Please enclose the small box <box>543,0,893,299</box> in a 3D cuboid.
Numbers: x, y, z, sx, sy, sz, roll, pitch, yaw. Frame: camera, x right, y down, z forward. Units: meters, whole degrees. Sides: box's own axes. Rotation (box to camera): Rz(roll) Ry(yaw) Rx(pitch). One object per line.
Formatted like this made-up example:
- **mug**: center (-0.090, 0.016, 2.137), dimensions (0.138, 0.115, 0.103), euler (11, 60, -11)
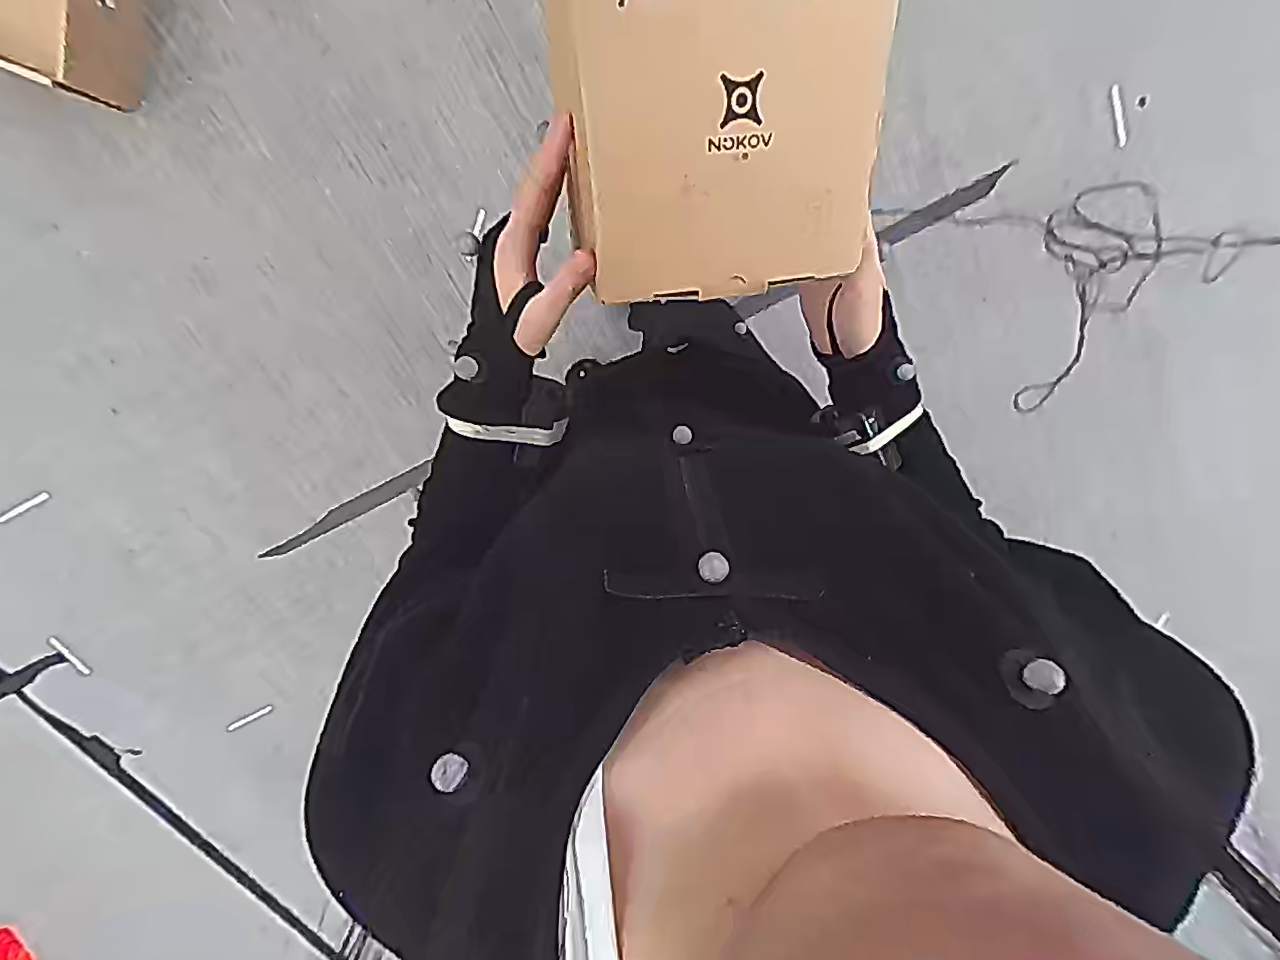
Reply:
- **small box**: center (0.034, -0.235, 0.353), dimensions (0.168, 0.176, 0.179), euler (-10, 124, -8)
